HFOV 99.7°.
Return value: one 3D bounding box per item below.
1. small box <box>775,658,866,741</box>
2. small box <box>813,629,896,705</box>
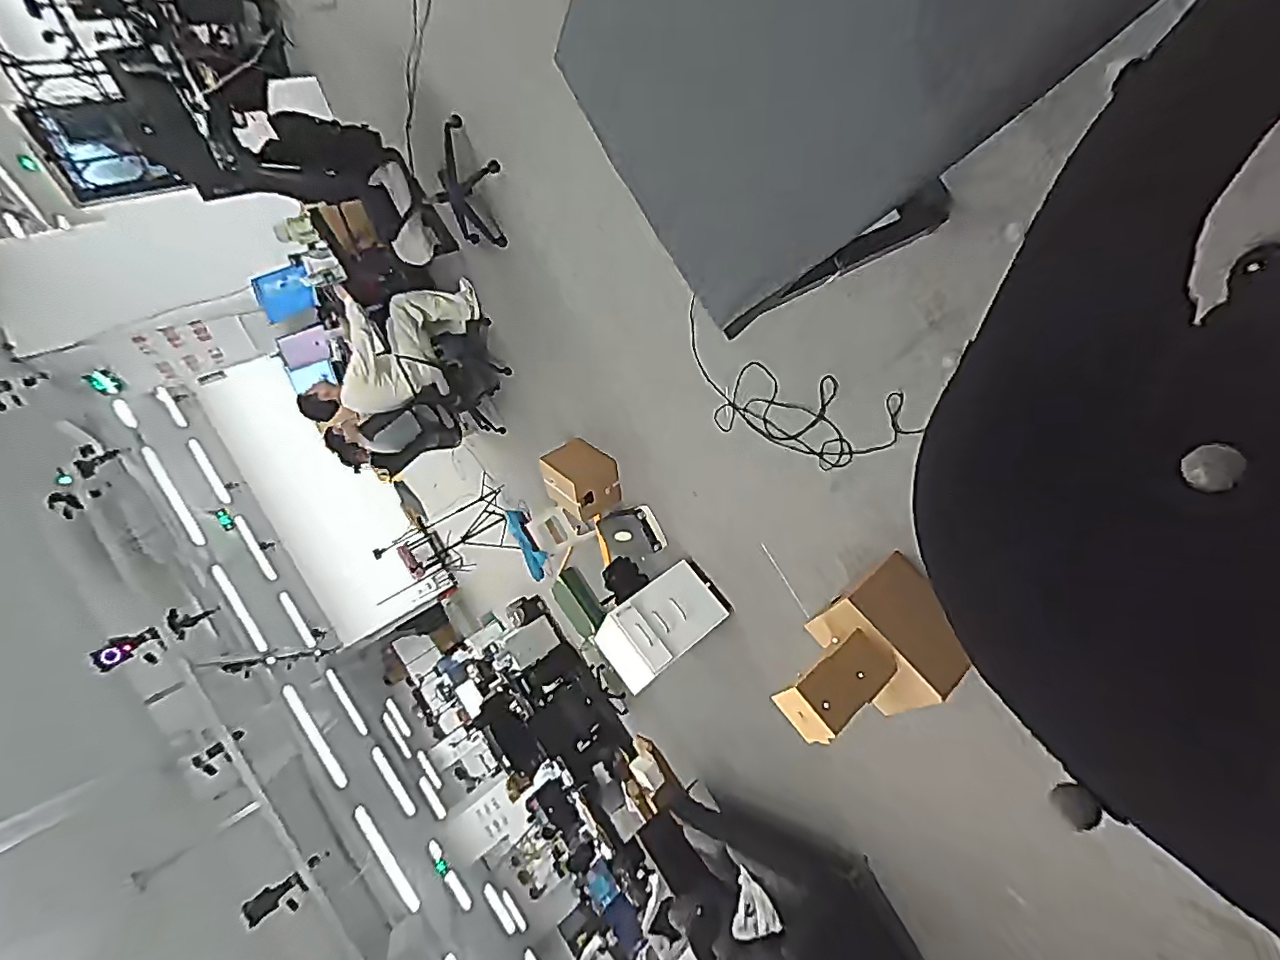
[{"bbox_3d":[0.569,0.685,1.705,0.179,0.176,0.168,50,149,16],"label":"small box"},{"bbox_3d":[0.700,0.622,1.779,0.179,0.176,0.168,50,150,17],"label":"small box"}]
